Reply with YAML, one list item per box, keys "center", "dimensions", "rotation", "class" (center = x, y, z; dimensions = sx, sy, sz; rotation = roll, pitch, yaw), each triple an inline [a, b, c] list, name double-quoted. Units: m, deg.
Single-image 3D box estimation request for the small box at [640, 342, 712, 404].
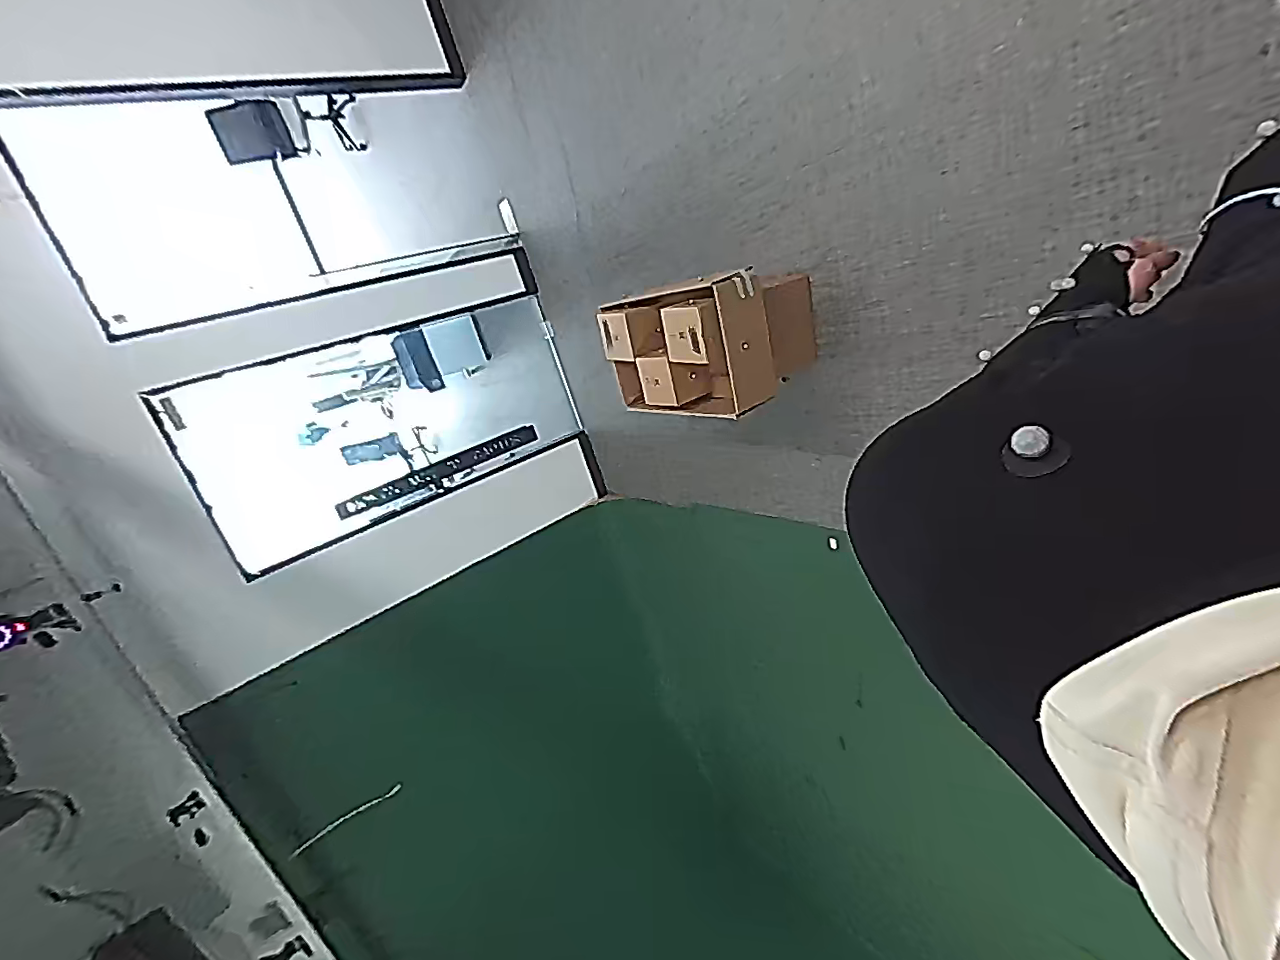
- center: [0.129, -0.366, 1.835]
  dimensions: [0.179, 0.176, 0.168]
  rotation: [16, 125, 52]
  class: "small box"
